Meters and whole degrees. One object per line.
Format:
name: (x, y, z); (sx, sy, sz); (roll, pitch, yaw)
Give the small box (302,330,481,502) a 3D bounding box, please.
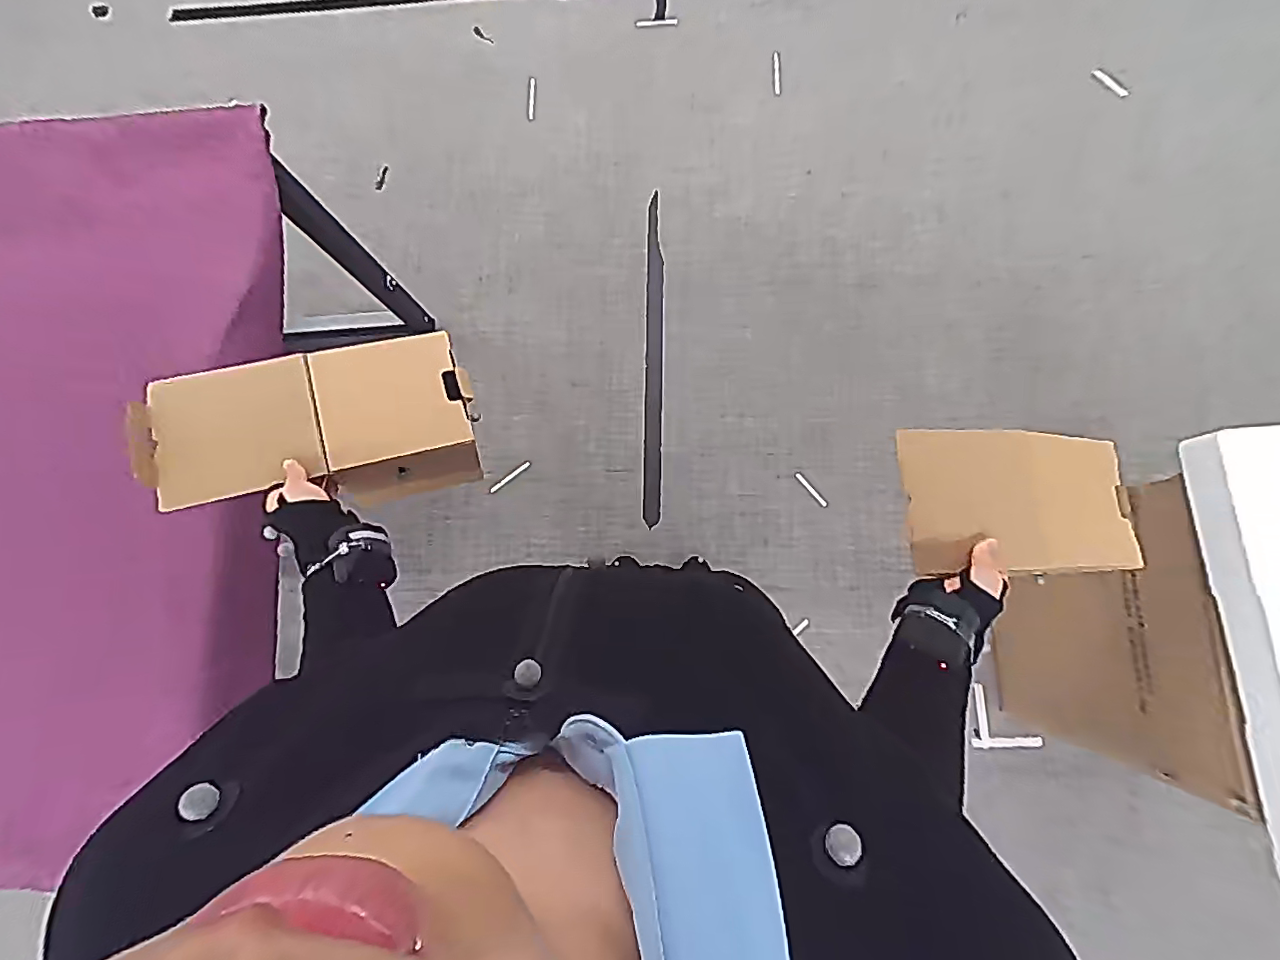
small box: (-0.329, -0.079, 0.744); (0.179, 0.176, 0.168); (-14, 78, -16)
